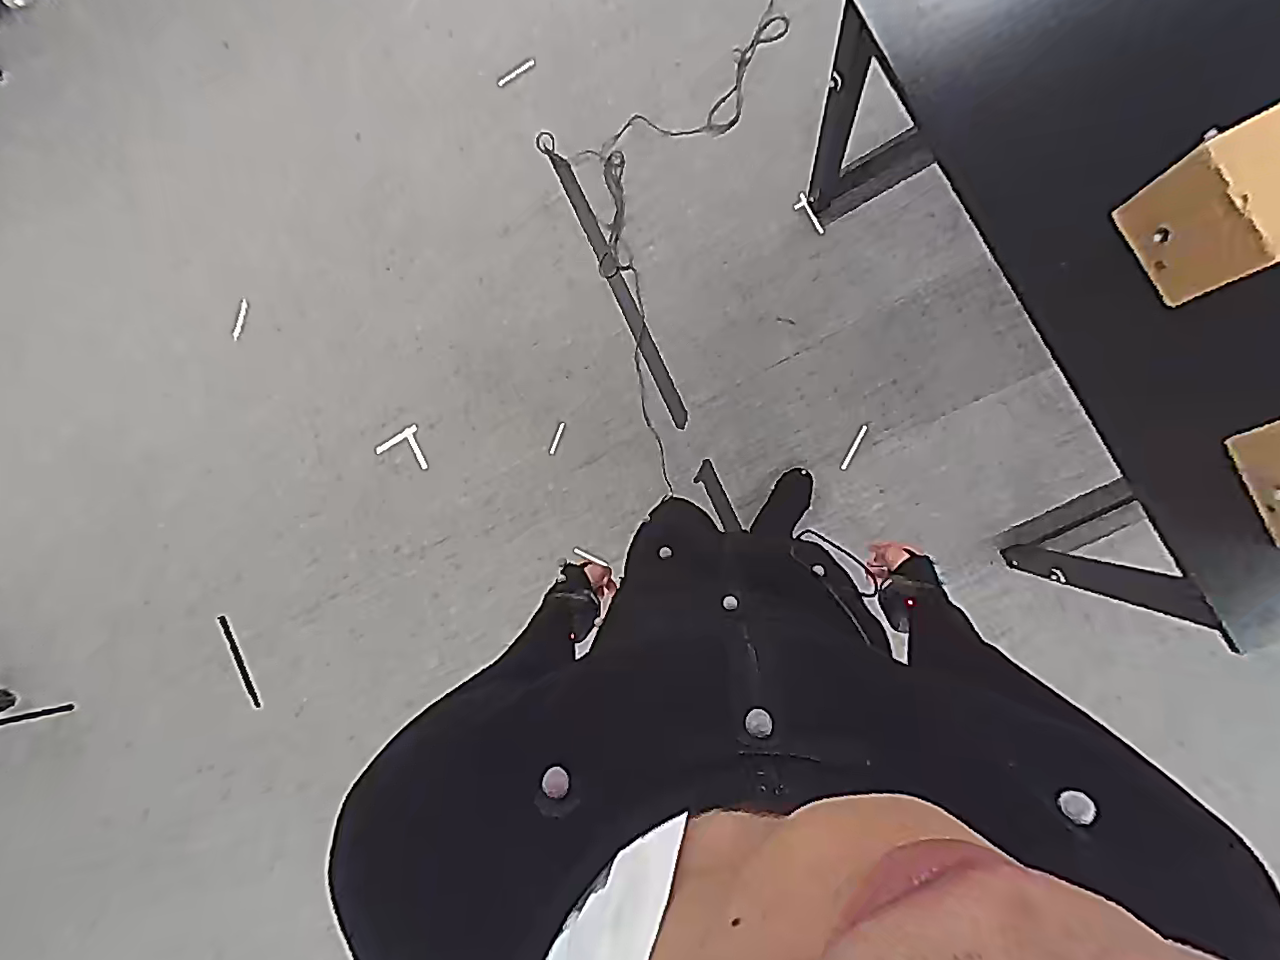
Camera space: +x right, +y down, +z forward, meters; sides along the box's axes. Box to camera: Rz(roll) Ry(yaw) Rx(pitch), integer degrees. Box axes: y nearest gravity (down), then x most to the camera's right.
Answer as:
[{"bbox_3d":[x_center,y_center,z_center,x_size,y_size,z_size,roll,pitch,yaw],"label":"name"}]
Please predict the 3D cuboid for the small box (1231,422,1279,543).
[{"bbox_3d":[0.919,-0.014,0.663,0.179,0.176,0.168,-22,84,10],"label":"small box"}]

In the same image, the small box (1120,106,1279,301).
[{"bbox_3d":[0.793,-0.363,0.694,0.179,0.176,0.168,-27,84,10],"label":"small box"}]
